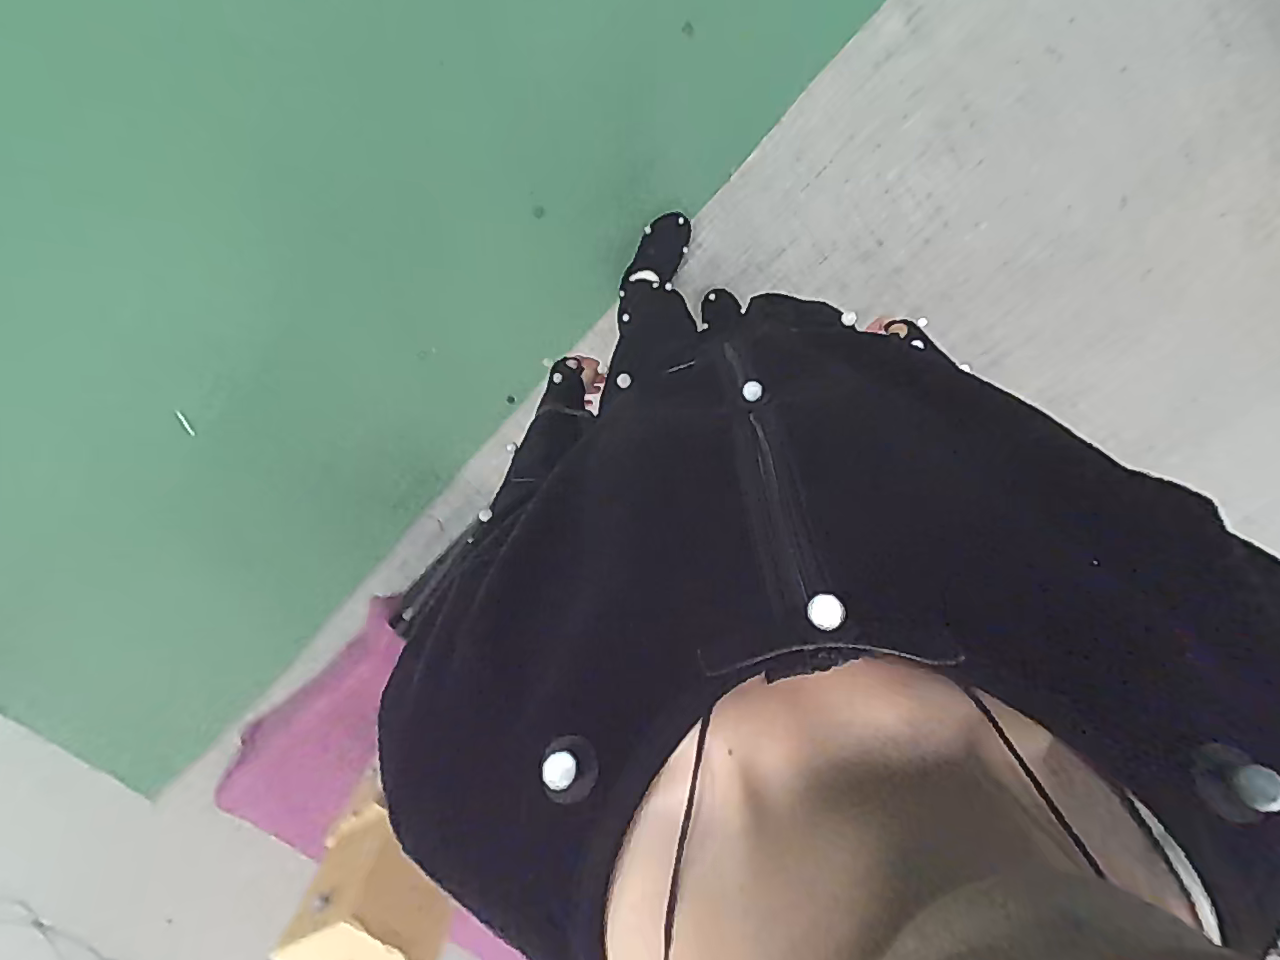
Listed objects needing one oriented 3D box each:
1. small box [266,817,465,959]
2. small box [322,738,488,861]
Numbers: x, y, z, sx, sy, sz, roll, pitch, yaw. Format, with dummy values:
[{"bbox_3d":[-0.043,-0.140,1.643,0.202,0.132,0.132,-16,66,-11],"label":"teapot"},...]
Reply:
[{"bbox_3d":[-0.399,0.656,0.813,0.179,0.176,0.168,-35,106,17],"label":"small box"},{"bbox_3d":[-0.409,0.596,0.967,0.179,0.176,0.168,43,111,-12],"label":"small box"}]
